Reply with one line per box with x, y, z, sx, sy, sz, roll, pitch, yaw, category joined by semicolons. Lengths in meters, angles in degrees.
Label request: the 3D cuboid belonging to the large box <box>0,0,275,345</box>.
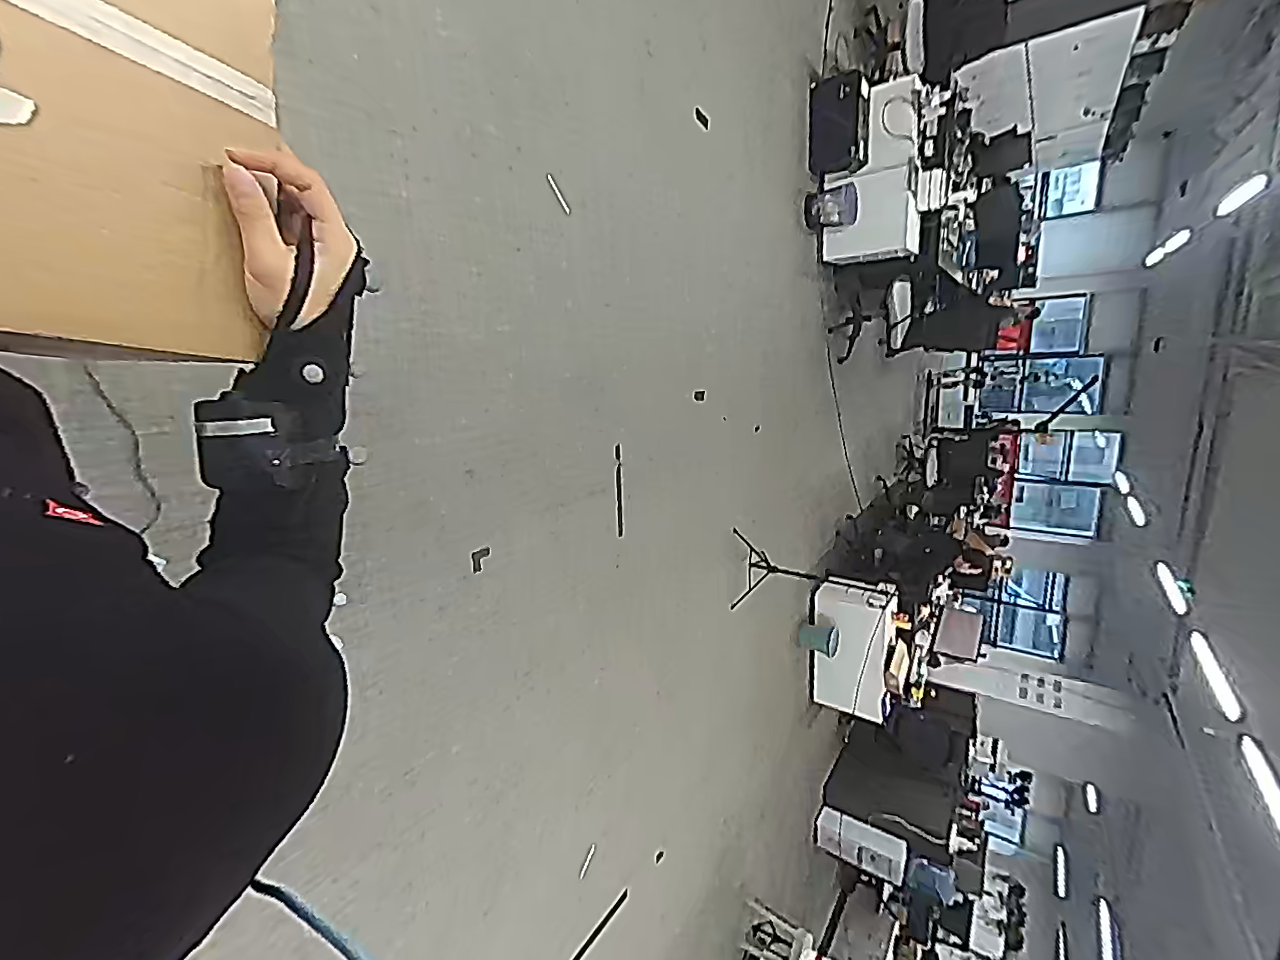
-0.467;-0.247;0.249;0.408;0.320;0.320;-6;103;-61;large box
